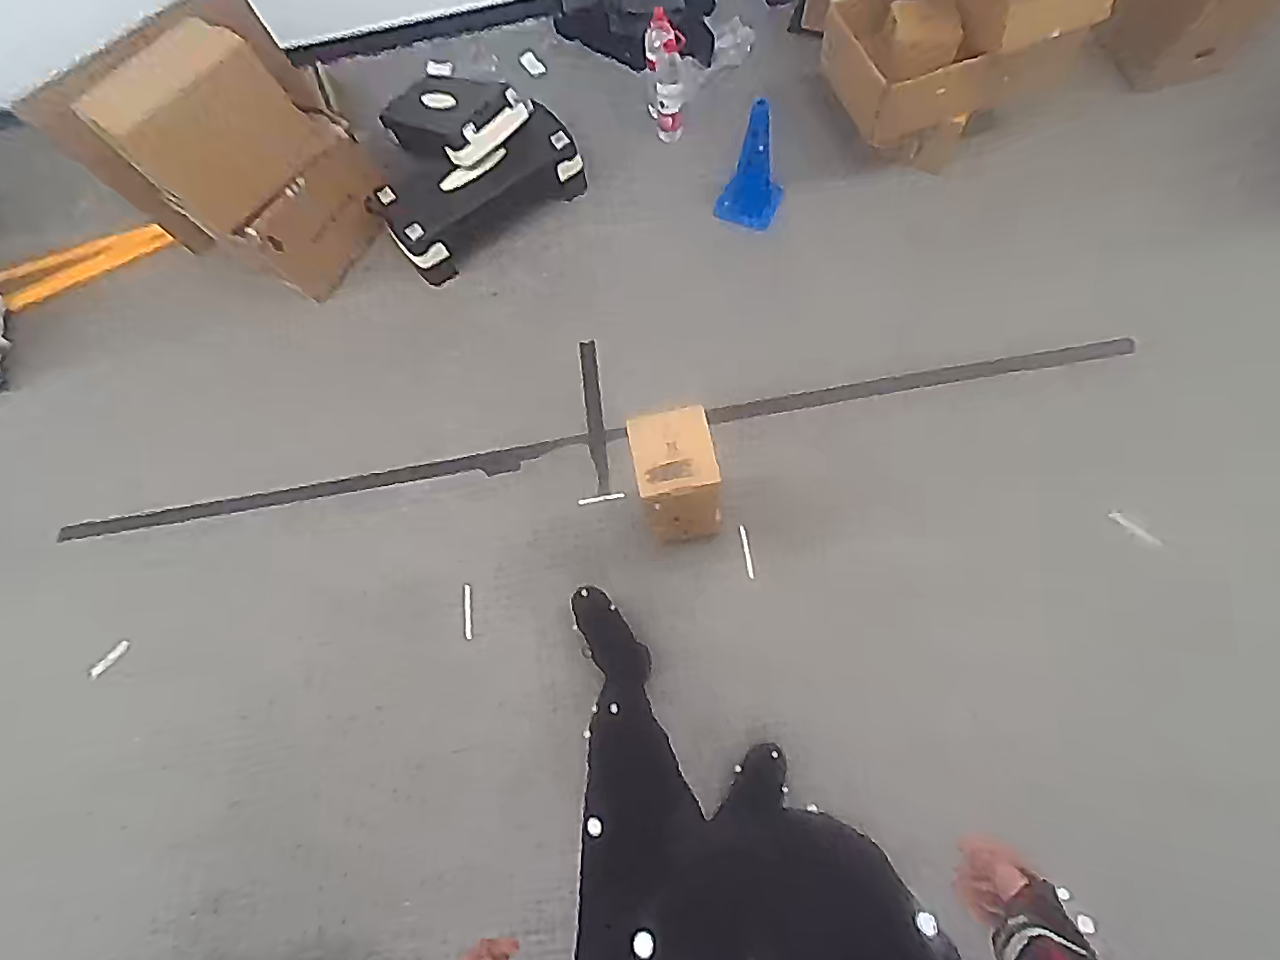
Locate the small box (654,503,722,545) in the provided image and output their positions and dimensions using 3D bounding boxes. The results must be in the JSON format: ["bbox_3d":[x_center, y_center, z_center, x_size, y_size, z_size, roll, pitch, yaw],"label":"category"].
[{"bbox_3d":[0.119,0.074,1.476,0.179,0.176,0.168,-10,72,3],"label":"small box"}]

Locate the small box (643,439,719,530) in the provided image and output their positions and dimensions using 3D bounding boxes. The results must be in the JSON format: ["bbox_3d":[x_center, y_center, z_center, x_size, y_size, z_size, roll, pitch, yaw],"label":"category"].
[{"bbox_3d":[0.098,0.015,1.326,0.168,0.176,0.179,-6,73,4],"label":"small box"}]
